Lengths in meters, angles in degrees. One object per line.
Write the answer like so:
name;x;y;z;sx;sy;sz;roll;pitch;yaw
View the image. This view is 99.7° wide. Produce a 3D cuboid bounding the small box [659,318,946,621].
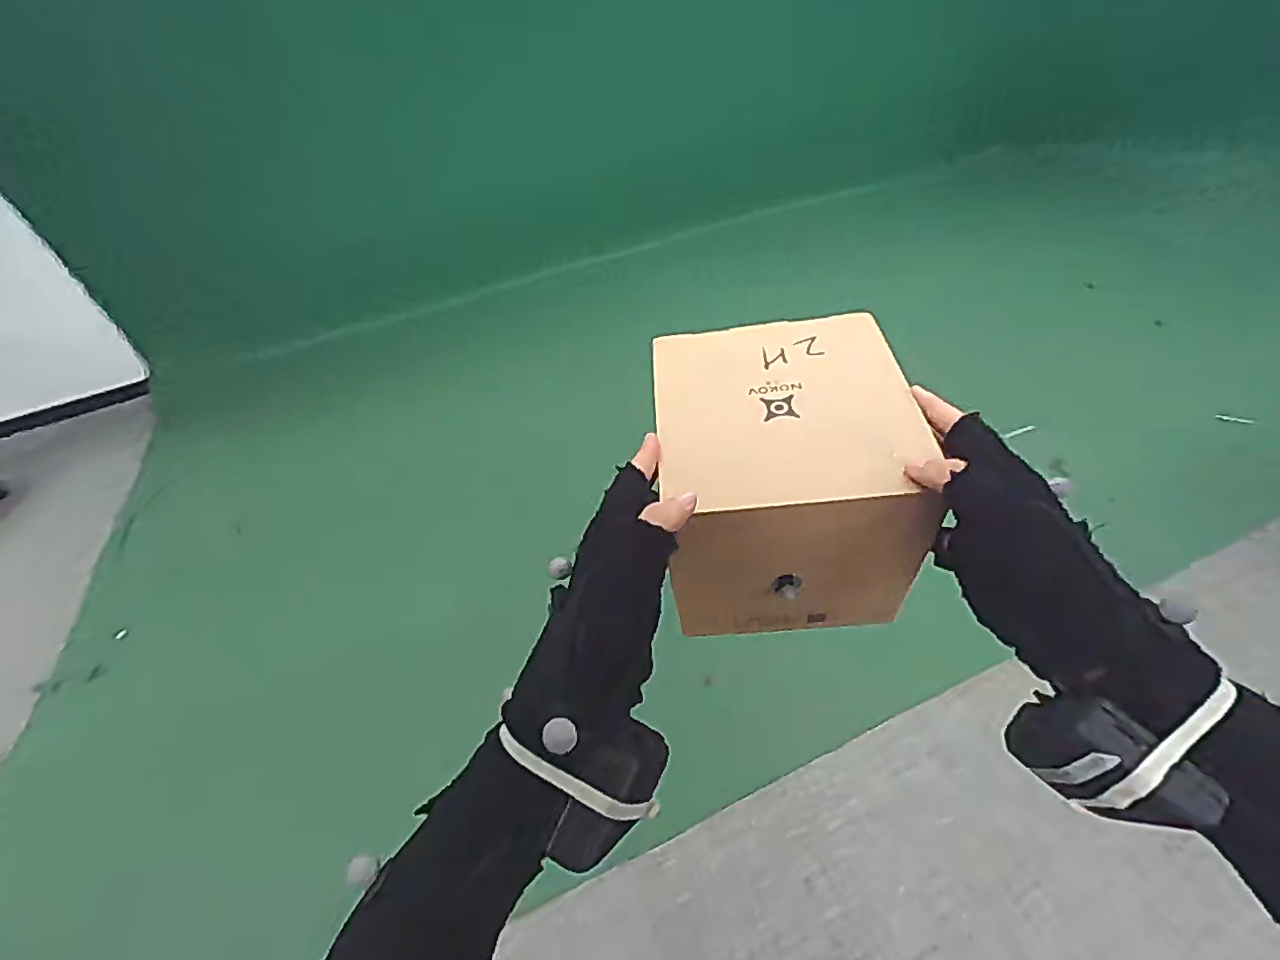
small box;0.106;0.000;0.427;0.168;0.176;0.179;-5;49;6
